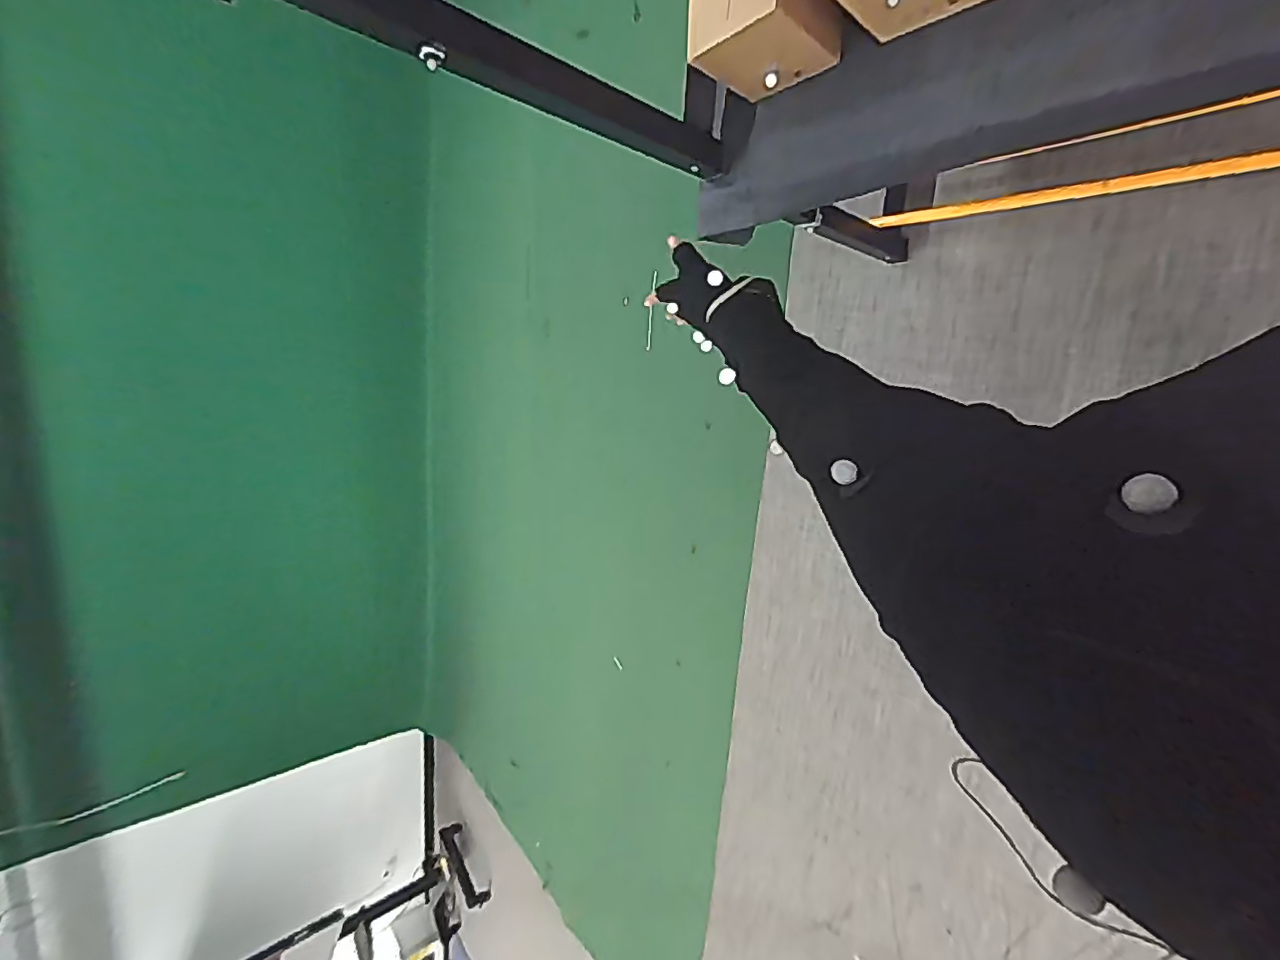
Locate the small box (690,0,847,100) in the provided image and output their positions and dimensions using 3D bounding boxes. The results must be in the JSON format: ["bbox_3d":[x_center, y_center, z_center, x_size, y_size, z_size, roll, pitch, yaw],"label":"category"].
[{"bbox_3d":[0.196,-0.717,0.806,0.168,0.176,0.179,13,103,49],"label":"small box"}]

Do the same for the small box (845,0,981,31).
[{"bbox_3d":[0.344,-0.680,0.638,0.168,0.176,0.179,16,105,47],"label":"small box"}]
